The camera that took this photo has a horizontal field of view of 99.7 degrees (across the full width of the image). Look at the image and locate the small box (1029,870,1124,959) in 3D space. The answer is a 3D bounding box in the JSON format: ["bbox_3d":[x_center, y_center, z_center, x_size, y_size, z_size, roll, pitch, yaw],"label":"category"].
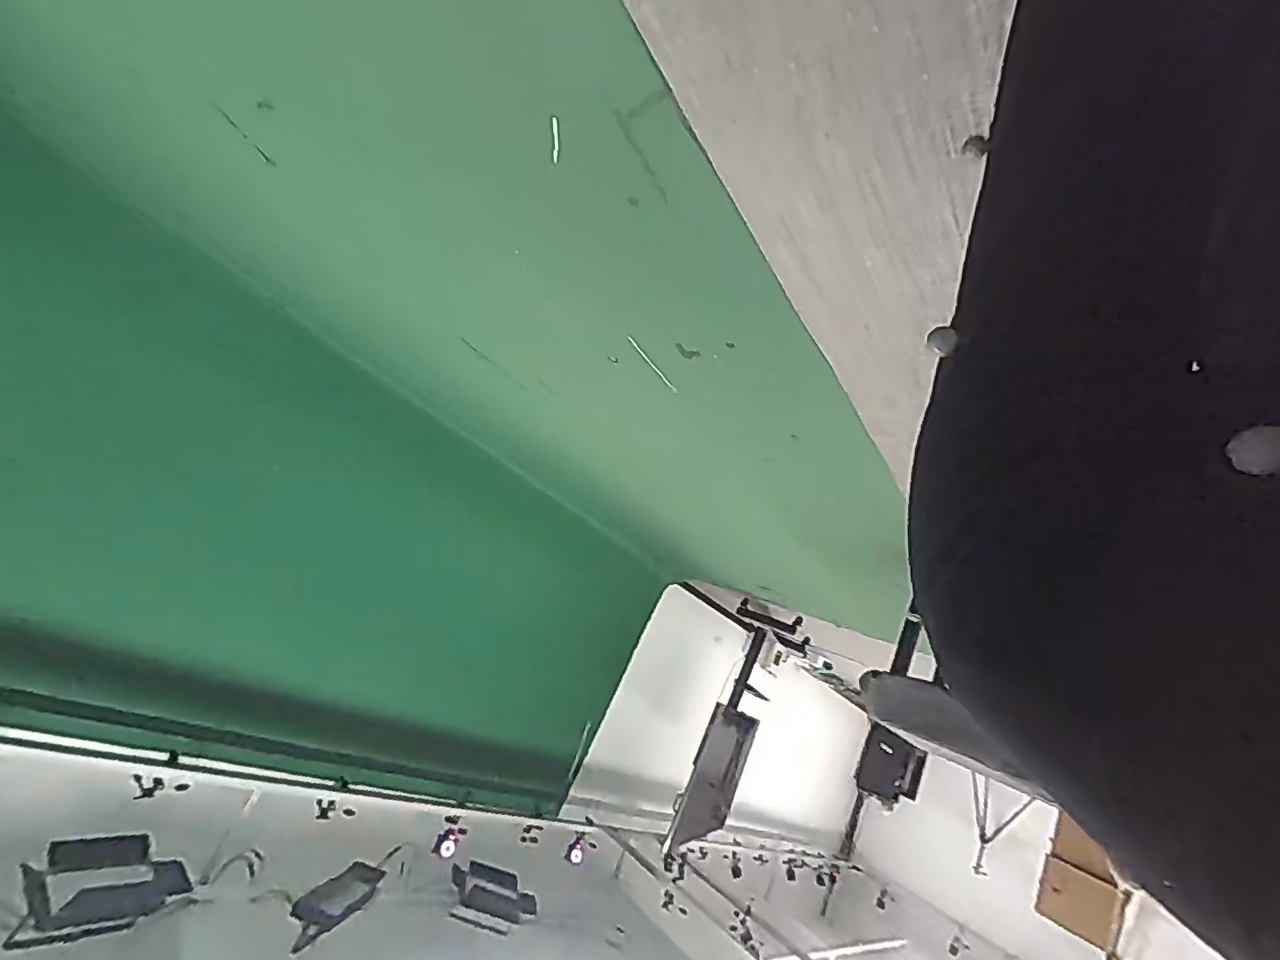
[{"bbox_3d":[1.289,1.285,1.594,0.168,0.176,0.179,38,162,-35],"label":"small box"}]

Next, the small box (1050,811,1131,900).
[{"bbox_3d":[1.380,1.143,1.655,0.168,0.176,0.179,10,158,46],"label":"small box"}]
